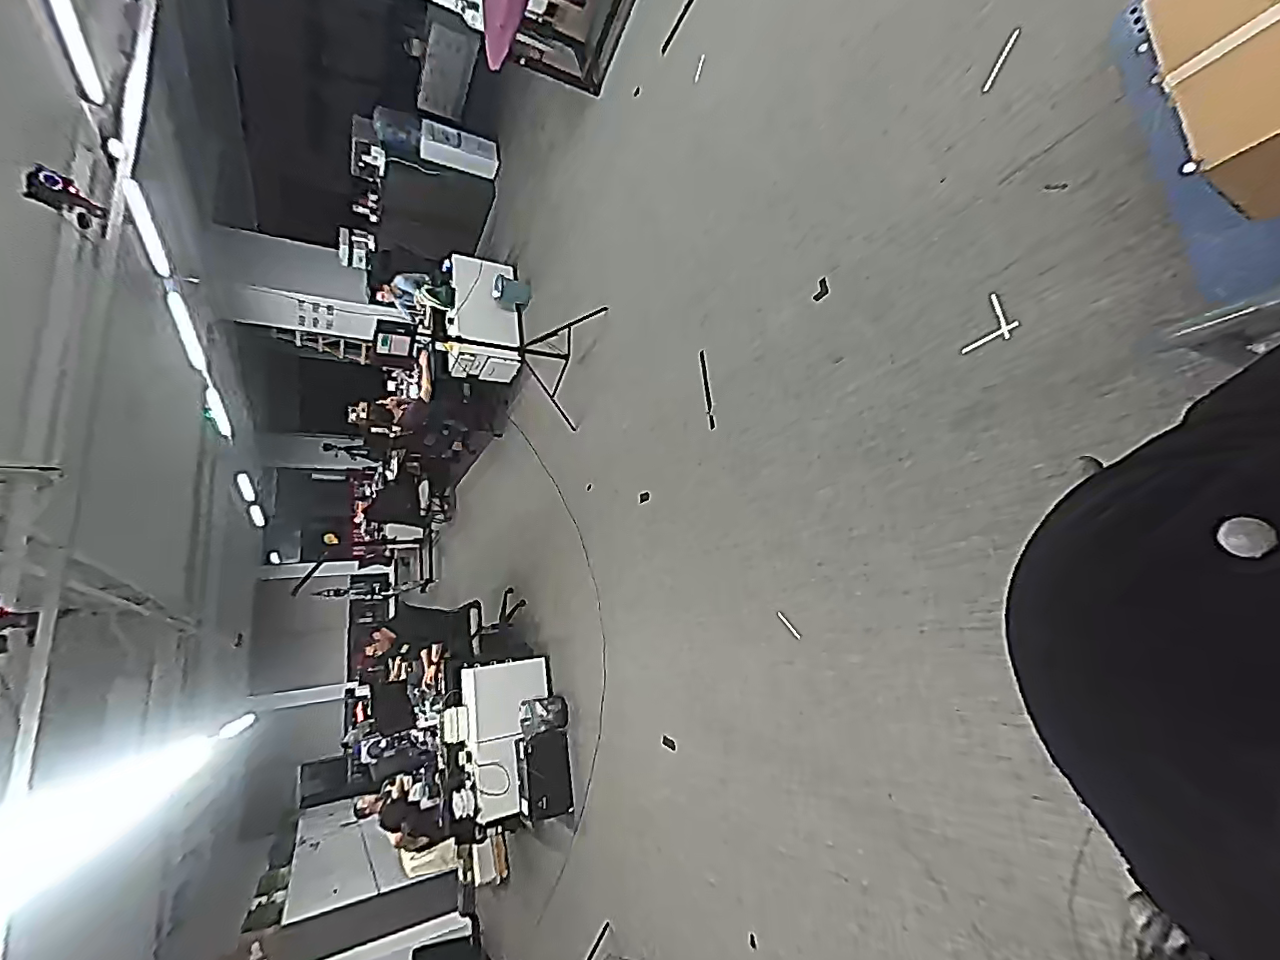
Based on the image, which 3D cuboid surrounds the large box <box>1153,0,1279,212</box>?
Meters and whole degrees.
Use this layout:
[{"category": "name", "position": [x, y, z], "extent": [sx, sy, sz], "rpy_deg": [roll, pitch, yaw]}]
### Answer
[{"category": "large box", "position": [1.040, -0.646, 0.717], "extent": [0.408, 0.320, 0.320], "rpy_deg": [-25, 67, 59]}]
